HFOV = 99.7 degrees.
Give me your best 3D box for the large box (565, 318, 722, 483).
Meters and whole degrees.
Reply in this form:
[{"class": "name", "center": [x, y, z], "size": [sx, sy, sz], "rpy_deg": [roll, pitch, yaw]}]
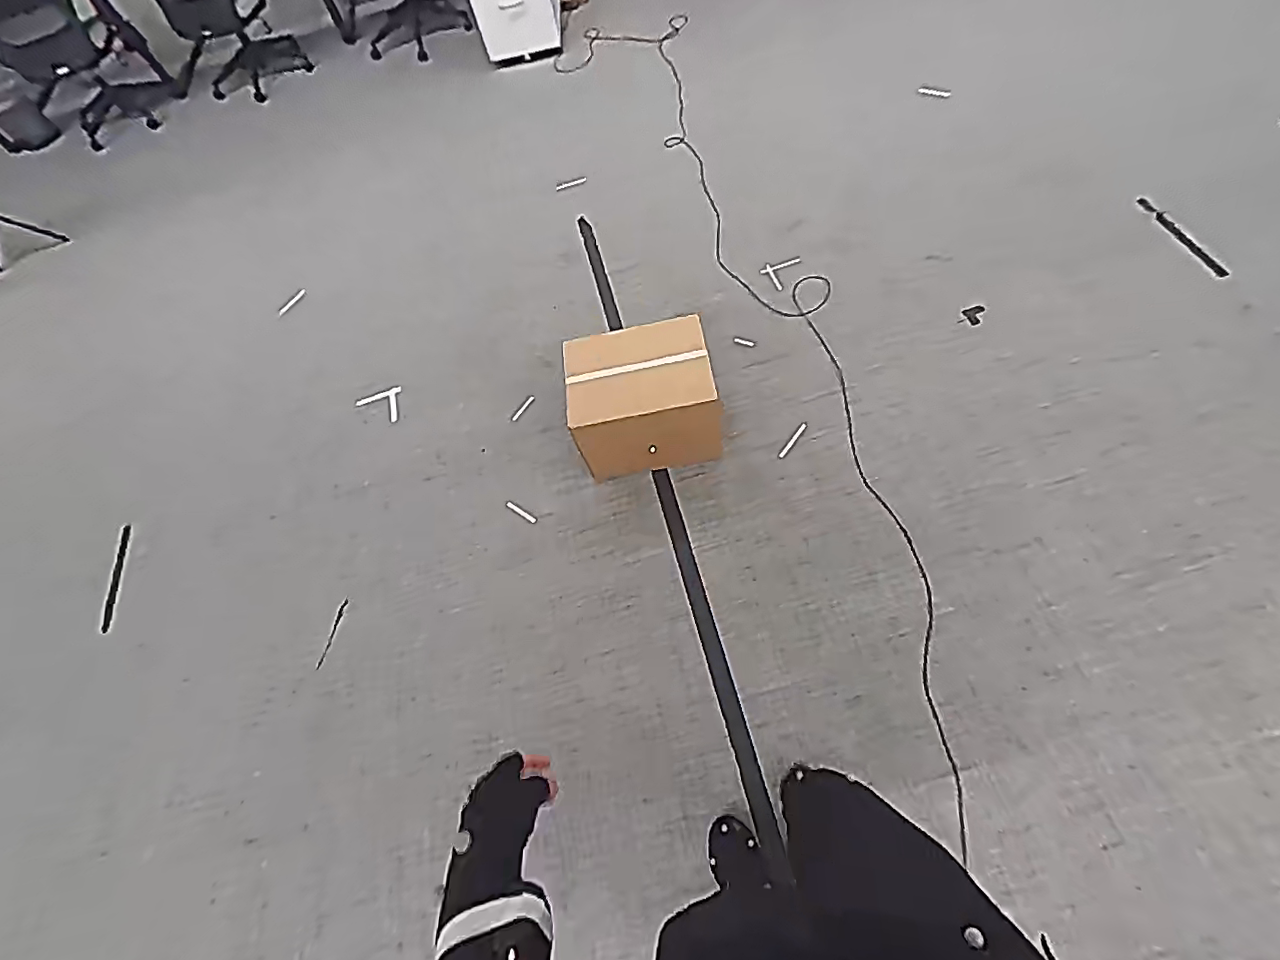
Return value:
[{"class": "large box", "center": [0.016, -0.226, 1.615], "size": [0.408, 0.320, 0.320], "rpy_deg": [-11, 61, 5]}]
